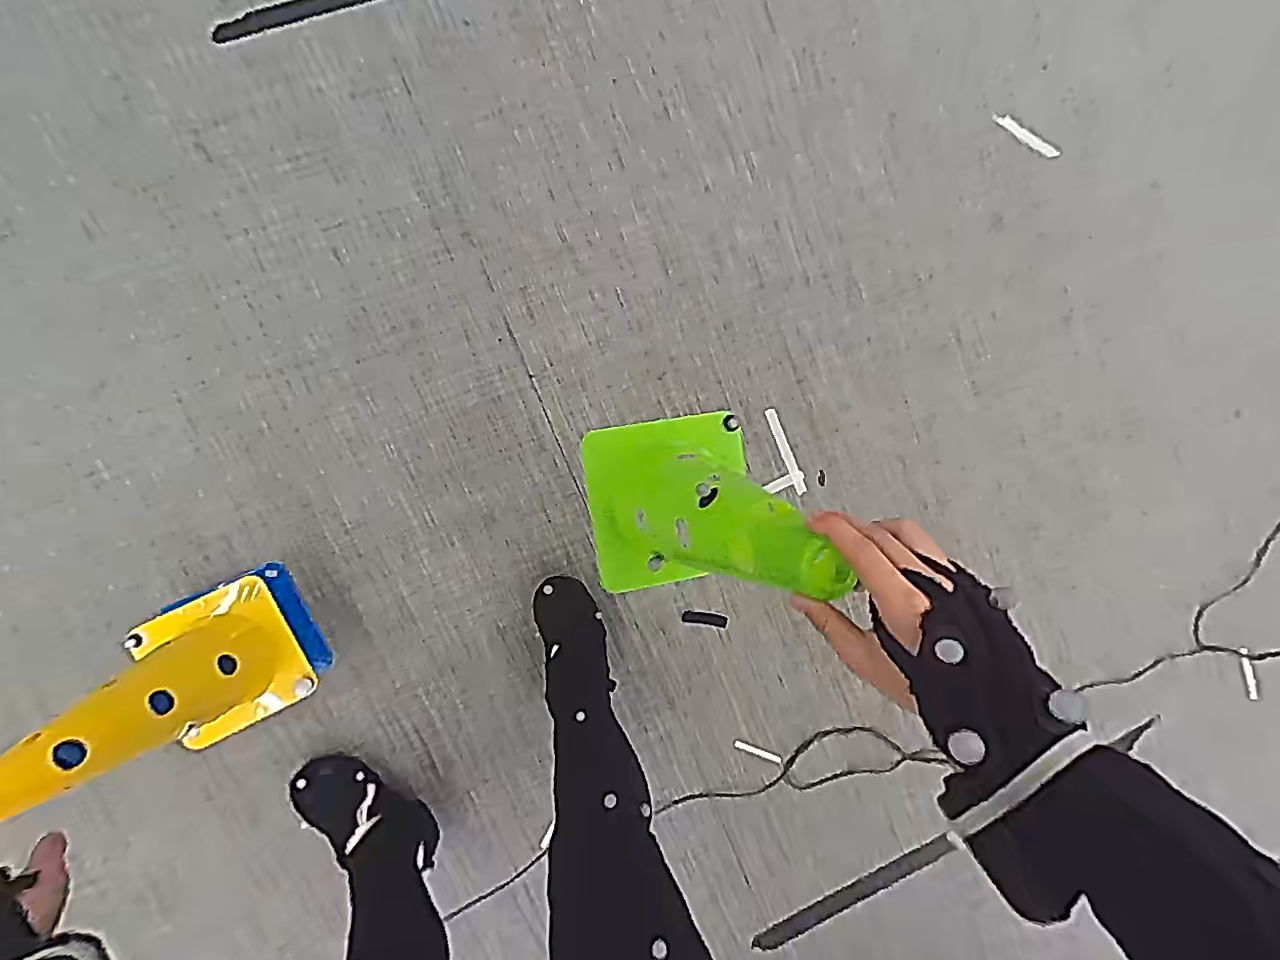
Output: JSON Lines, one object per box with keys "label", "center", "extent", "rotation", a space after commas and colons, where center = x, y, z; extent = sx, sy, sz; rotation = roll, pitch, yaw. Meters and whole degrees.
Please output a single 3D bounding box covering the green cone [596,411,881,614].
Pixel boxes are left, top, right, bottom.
{"label": "green cone", "center": [0.088, 0.040, 0.497], "extent": [0.200, 0.368, 0.202], "rotation": [-11, 97, -10]}
